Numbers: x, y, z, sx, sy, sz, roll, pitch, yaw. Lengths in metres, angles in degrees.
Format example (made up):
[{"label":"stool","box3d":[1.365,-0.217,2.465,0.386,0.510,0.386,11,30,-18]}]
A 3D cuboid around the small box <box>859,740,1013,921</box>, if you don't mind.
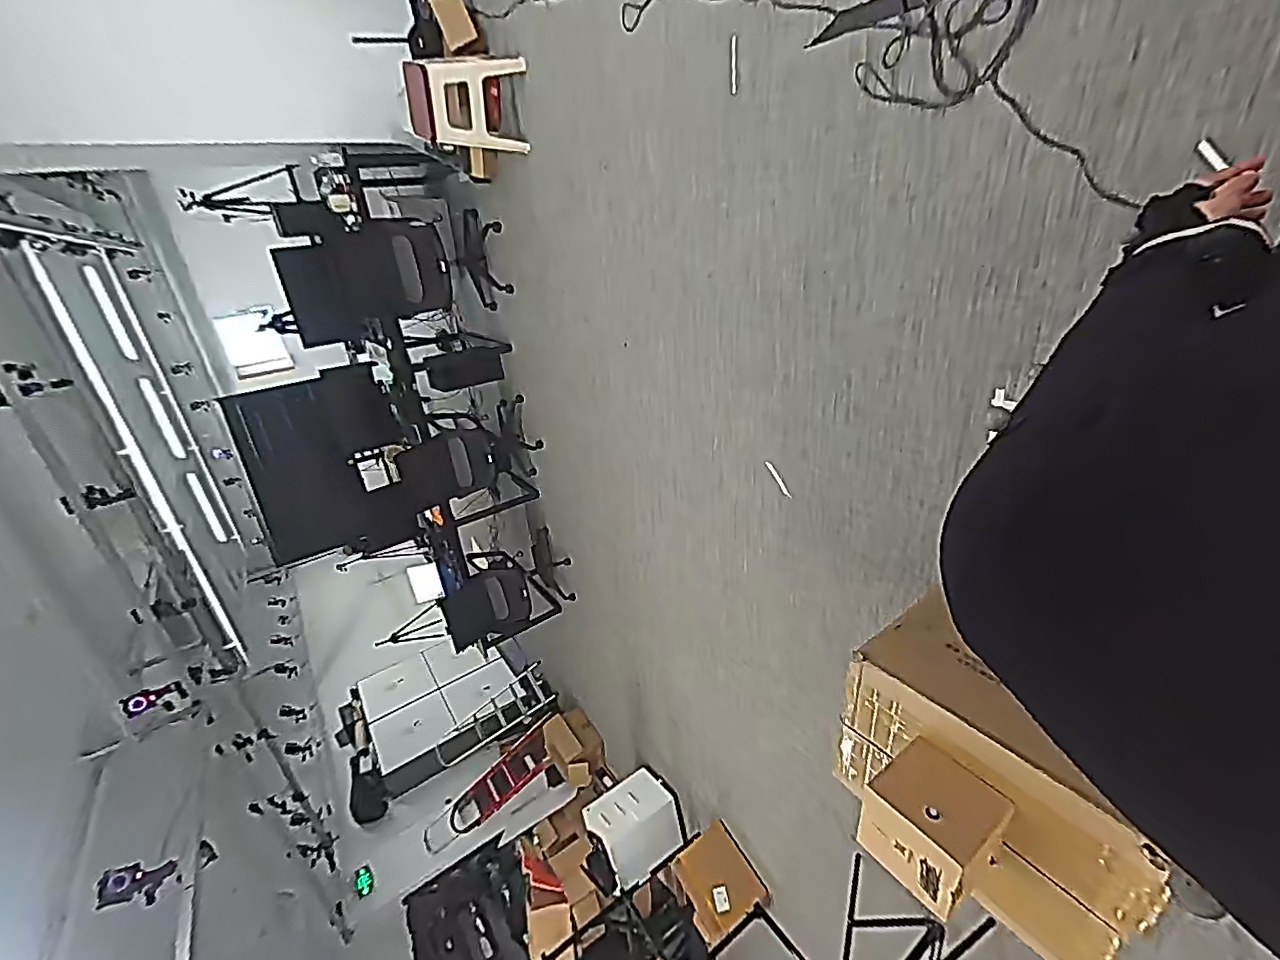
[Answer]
[{"label":"small box","box3d":[0.524,0.611,0.965,0.179,0.176,0.168,31,133,50]}]
